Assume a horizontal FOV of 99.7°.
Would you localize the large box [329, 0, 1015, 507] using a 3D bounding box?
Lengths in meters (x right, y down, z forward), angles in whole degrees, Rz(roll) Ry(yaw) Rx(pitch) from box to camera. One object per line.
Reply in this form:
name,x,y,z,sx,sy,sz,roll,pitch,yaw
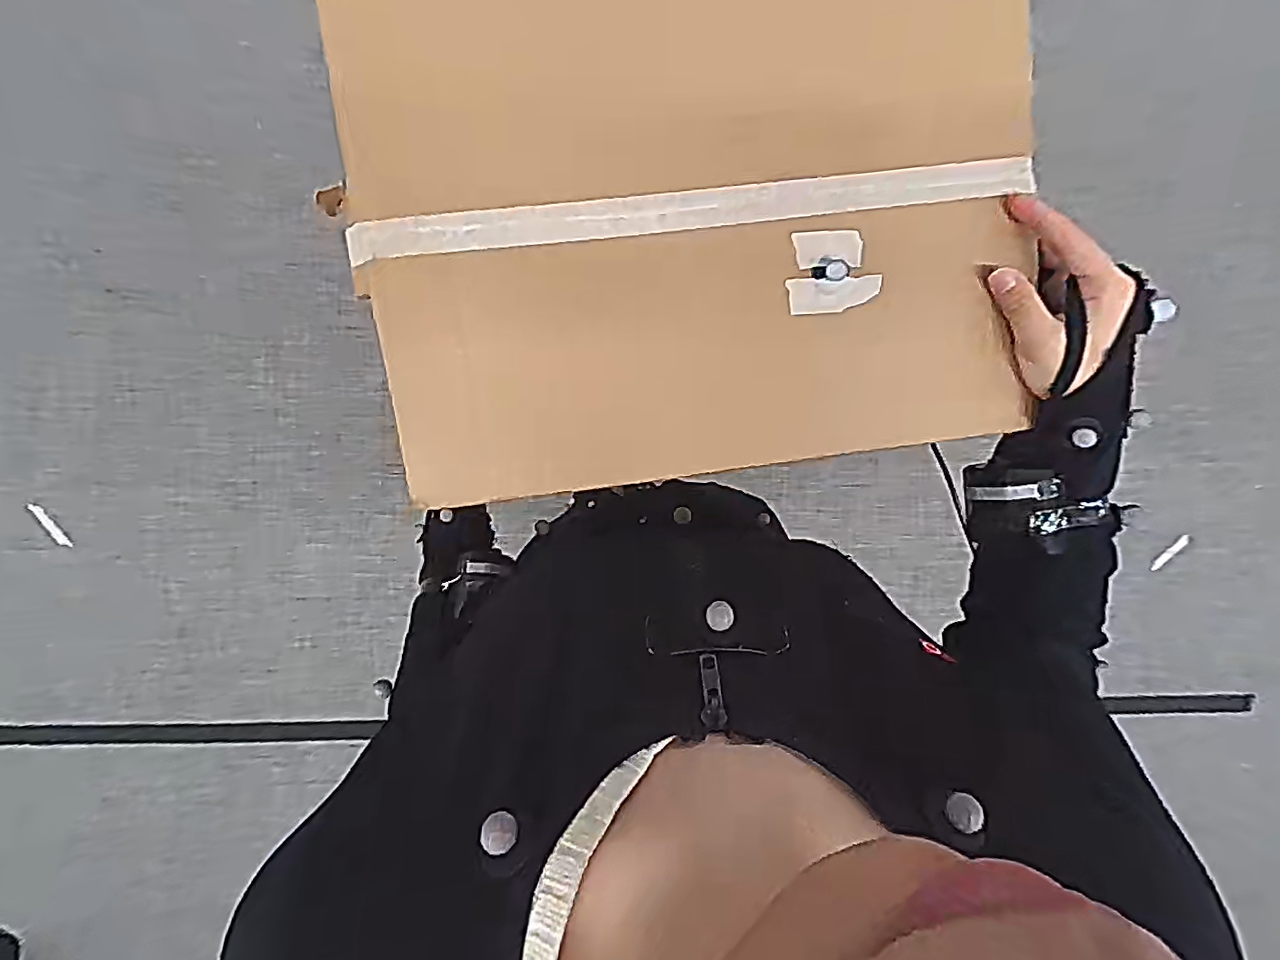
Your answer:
large box,0.024,-0.180,0.479,0.408,0.320,0.320,-8,99,-6
